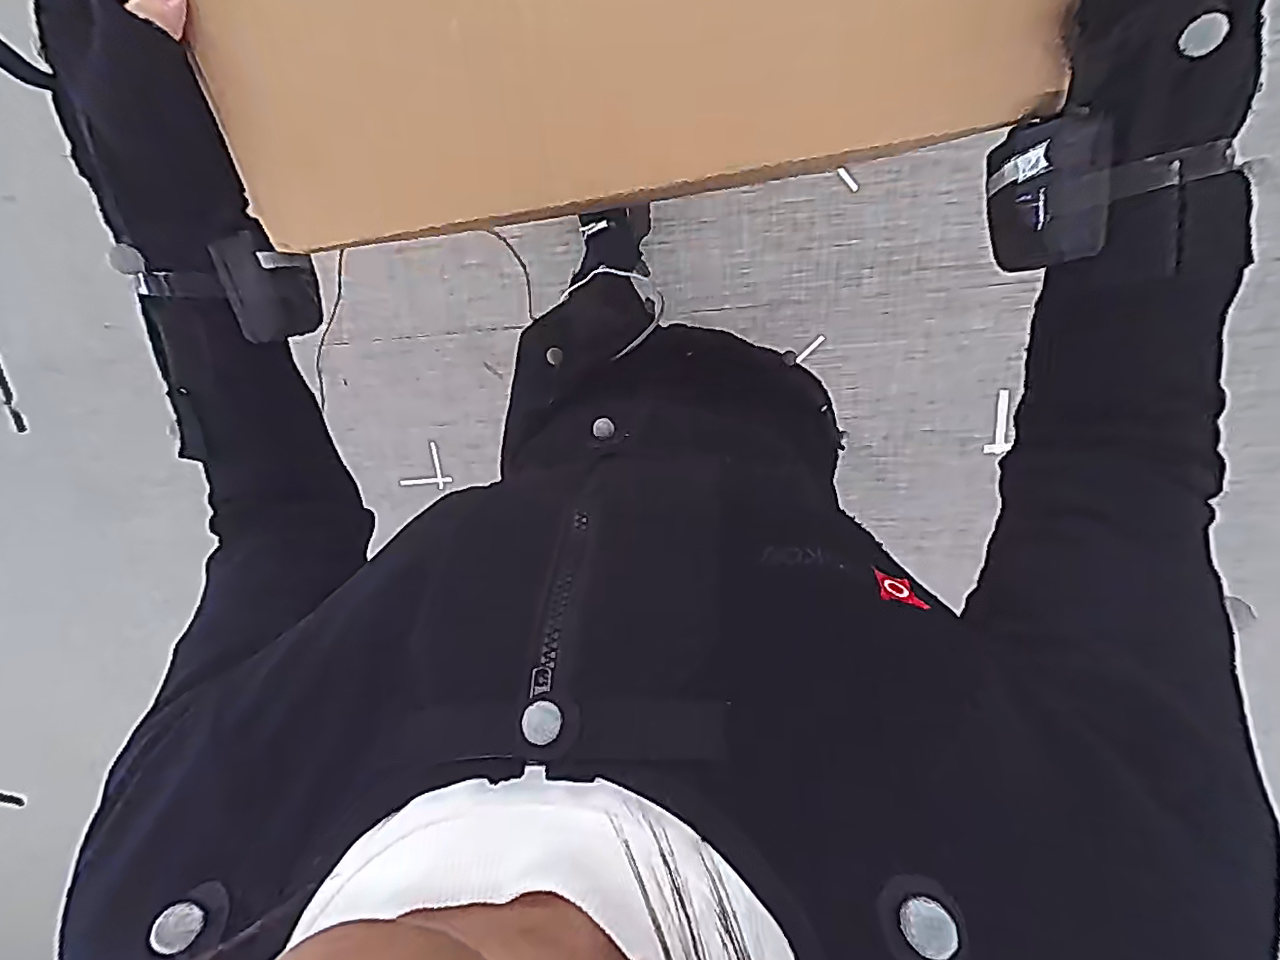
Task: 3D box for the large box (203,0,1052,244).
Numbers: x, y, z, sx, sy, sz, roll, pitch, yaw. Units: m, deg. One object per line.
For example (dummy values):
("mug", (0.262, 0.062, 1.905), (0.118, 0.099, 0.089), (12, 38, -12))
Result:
("large box", (-0.018, -0.363, 0.357), (0.408, 0.320, 0.320), (-7, 117, 7))
